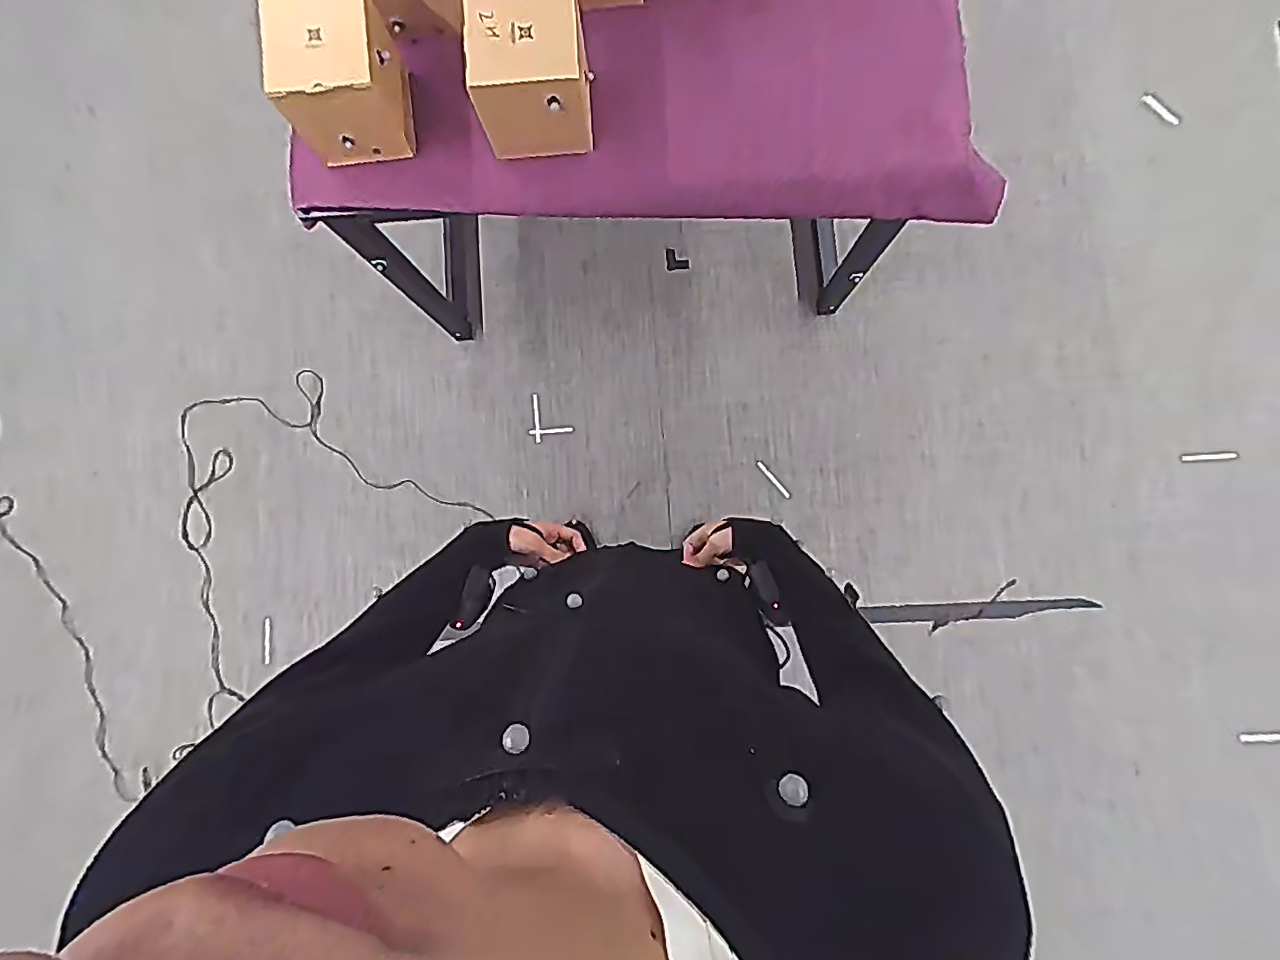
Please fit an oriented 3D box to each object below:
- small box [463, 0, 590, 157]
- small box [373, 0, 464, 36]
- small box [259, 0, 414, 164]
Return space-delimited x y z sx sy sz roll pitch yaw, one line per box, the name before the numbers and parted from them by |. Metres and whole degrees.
small box | -0.177 -0.669 0.895 0.179 0.176 0.168 -4 85 3
small box | -0.386 -0.908 0.923 0.168 0.176 0.179 3 86 2
small box | -0.499 -0.672 0.908 0.168 0.176 0.179 -7 86 0
